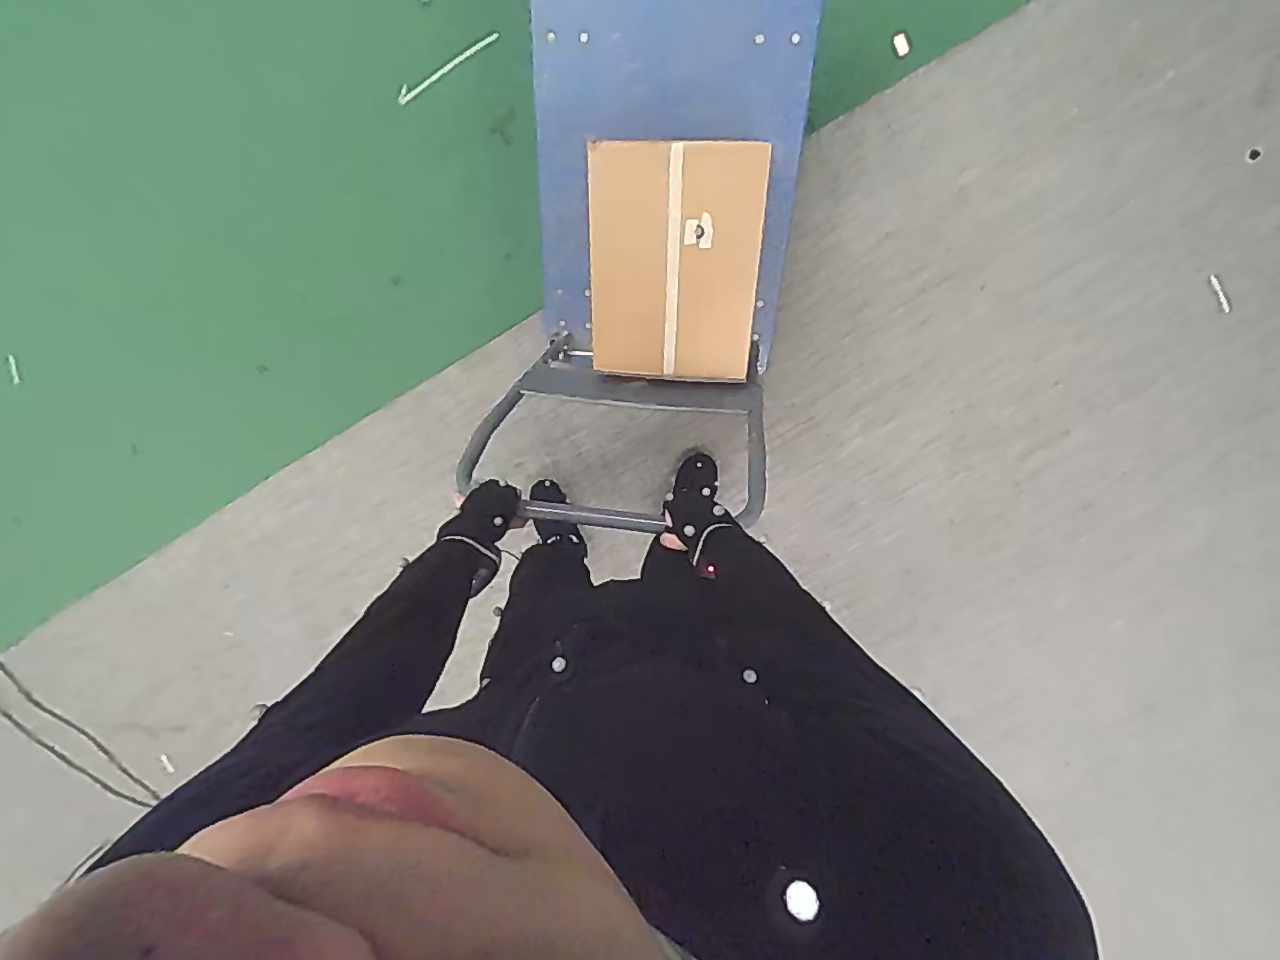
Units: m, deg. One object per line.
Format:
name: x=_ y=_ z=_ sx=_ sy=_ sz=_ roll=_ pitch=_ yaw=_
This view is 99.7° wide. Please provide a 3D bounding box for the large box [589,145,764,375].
large box: x=0.082 y=-0.466 z=1.151 sx=0.320 sy=0.320 sz=0.408 roll=6 pitch=119 yaw=7
